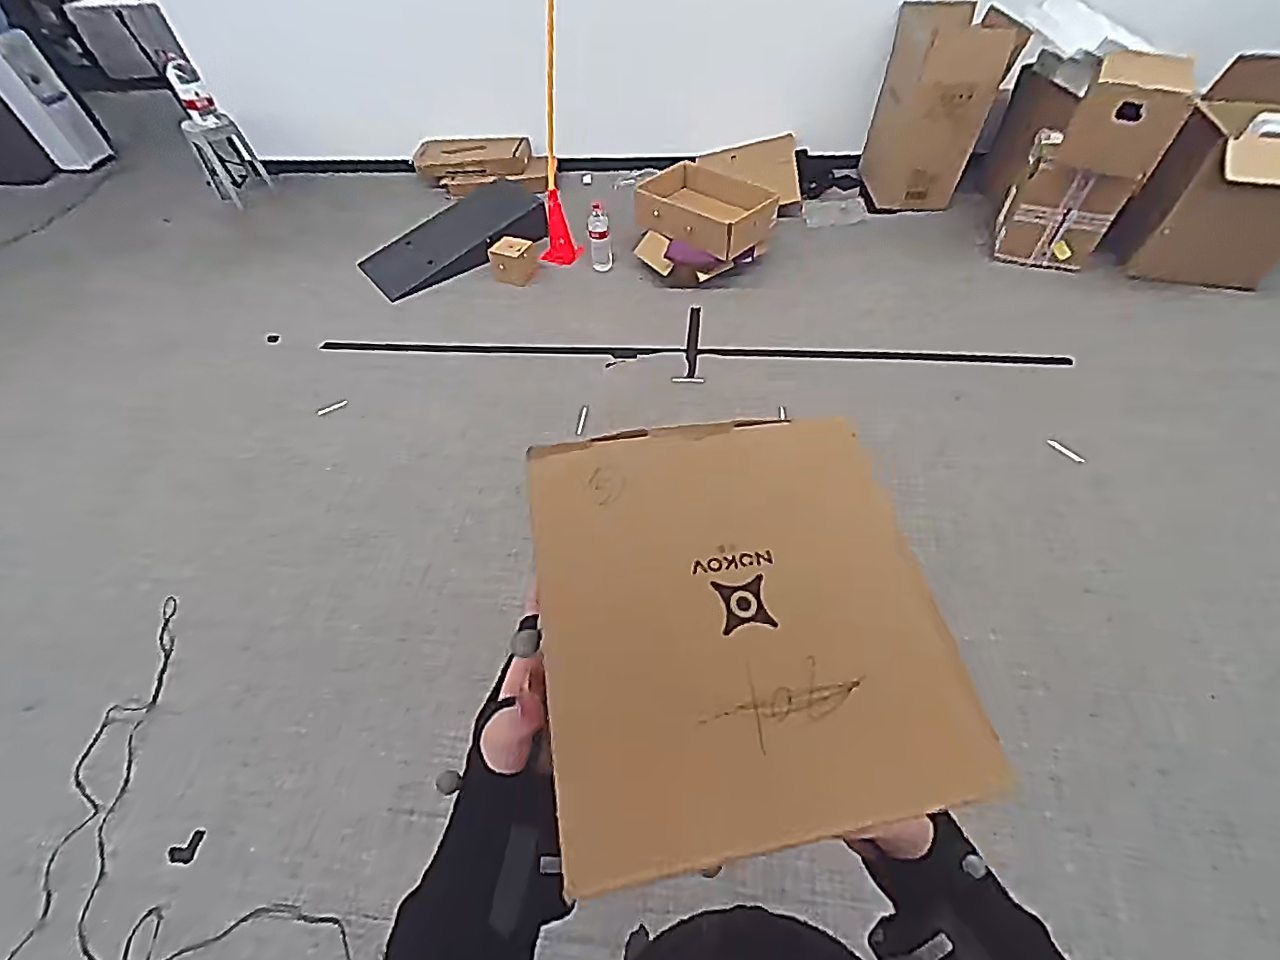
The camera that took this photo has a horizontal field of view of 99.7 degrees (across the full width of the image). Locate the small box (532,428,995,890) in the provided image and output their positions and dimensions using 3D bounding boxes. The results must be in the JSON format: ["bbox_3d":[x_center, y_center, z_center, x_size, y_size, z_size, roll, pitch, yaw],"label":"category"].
[{"bbox_3d":[0.035,0.096,0.303,0.168,0.176,0.179,-8,61,-10],"label":"small box"}]
